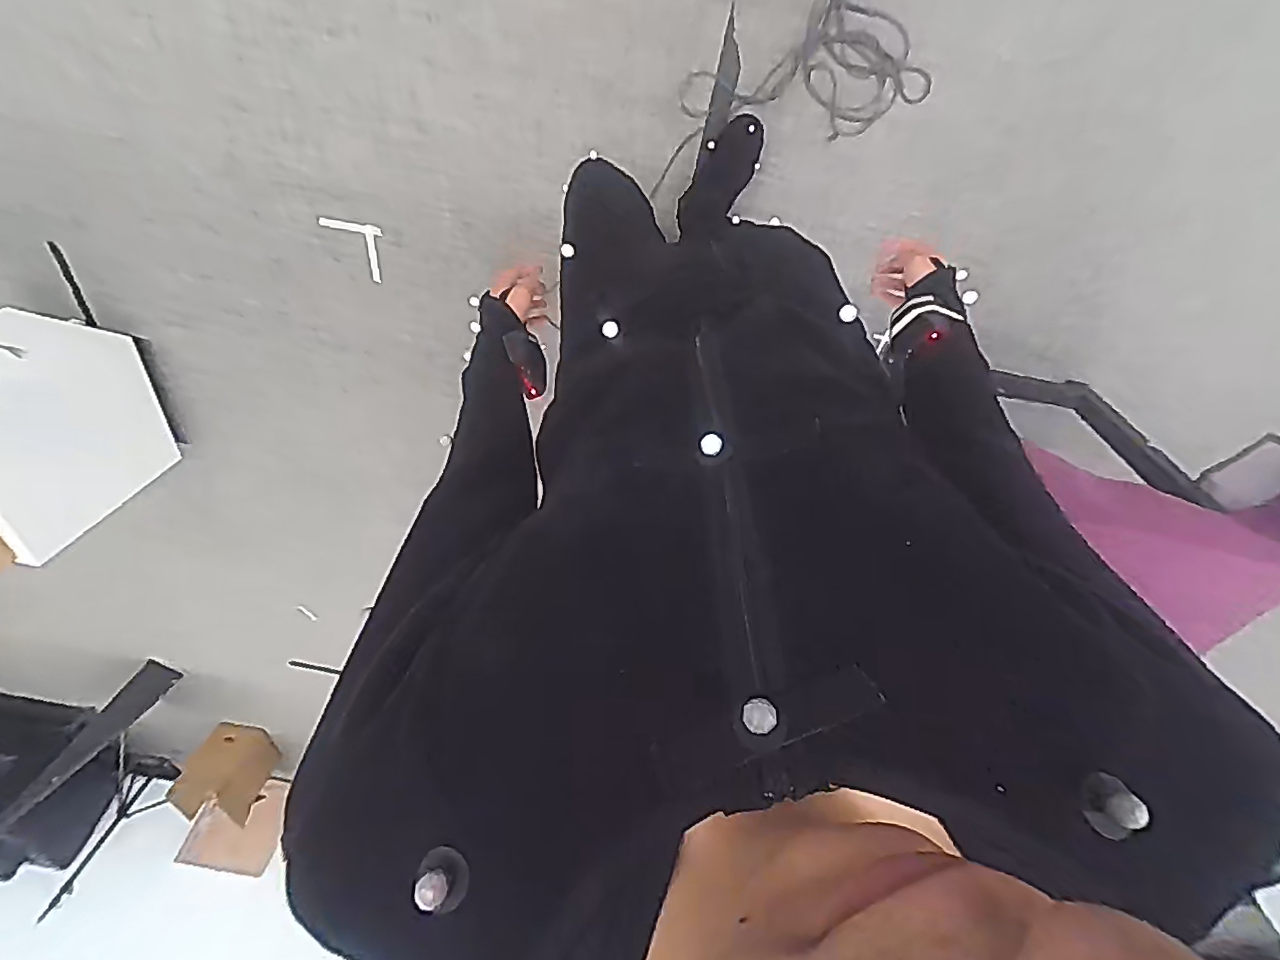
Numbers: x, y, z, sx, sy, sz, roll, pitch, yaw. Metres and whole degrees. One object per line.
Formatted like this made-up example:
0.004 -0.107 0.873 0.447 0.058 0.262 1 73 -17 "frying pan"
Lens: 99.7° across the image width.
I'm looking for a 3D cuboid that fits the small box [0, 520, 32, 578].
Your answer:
-1.902 0.204 1.512 0.179 0.176 0.168 12 129 -1 "small box"
